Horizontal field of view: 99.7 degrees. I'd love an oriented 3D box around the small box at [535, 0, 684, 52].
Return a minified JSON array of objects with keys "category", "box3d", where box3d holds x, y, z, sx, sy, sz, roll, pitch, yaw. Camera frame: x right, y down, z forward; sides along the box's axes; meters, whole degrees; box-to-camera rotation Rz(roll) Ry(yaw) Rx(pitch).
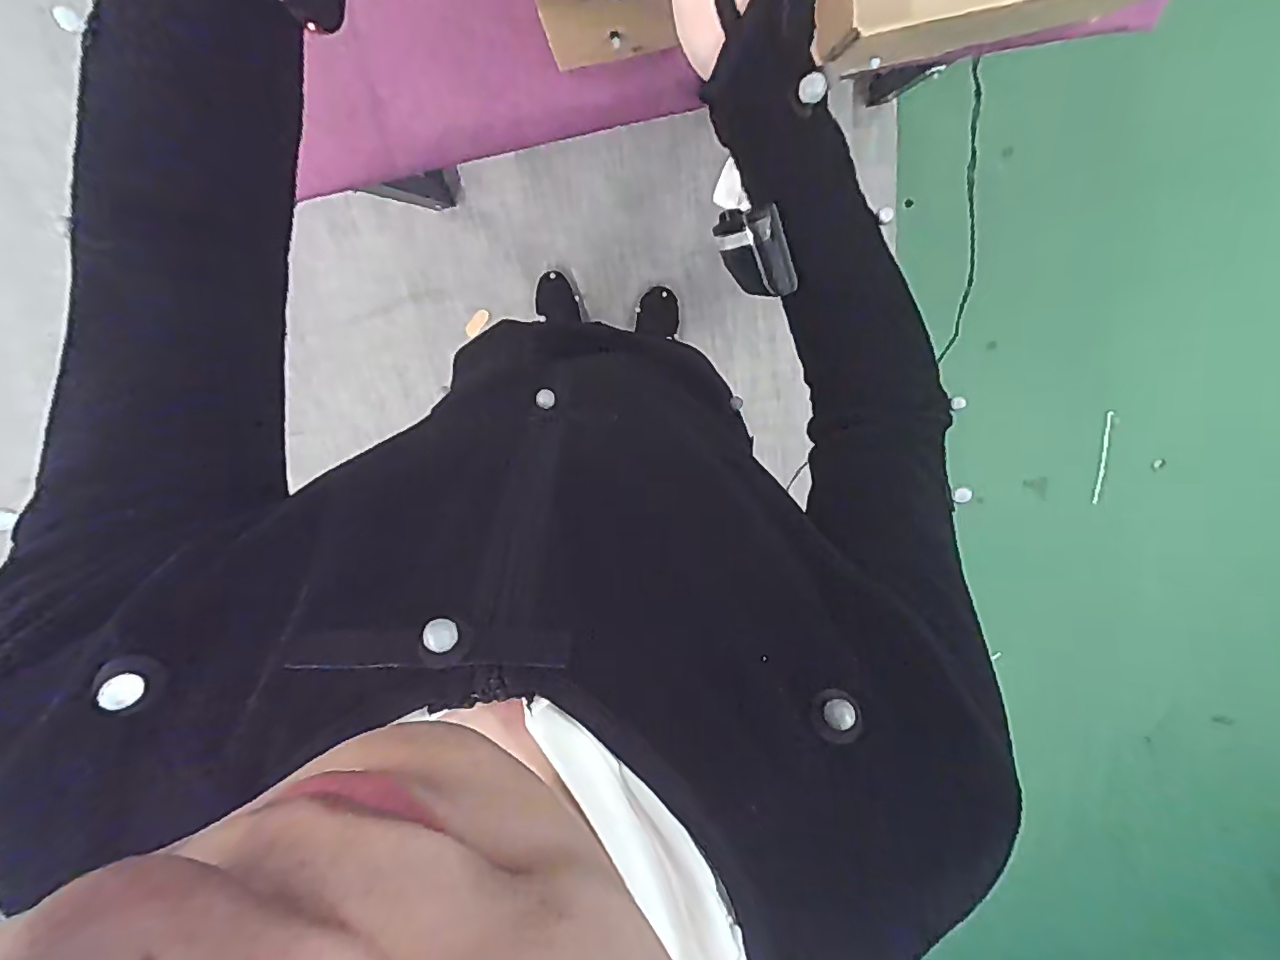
[{"category":"small box","box3d":[-0.040,-0.601,0.588,0.168,0.176,0.179,-10,112,2]}]
